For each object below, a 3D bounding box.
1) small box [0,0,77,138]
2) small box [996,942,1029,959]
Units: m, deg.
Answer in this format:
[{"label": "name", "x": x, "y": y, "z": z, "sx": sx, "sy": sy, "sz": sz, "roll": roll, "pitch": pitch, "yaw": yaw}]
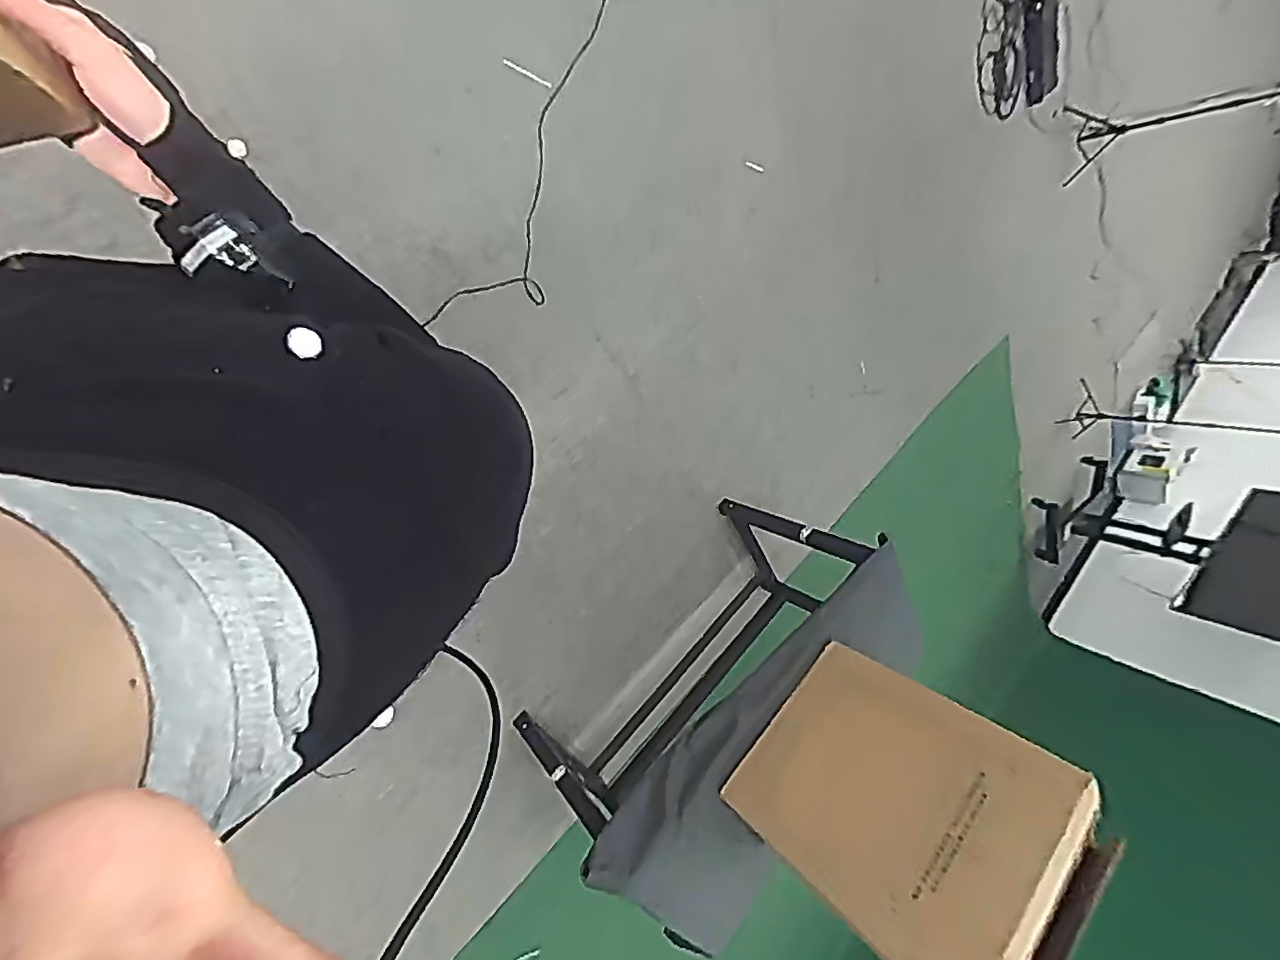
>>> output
[{"label": "small box", "x": -0.426, "y": -0.255, "z": 0.232, "sx": 0.168, "sy": 0.176, "sz": 0.179, "roll": -26, "pitch": 110, "yaw": -14}, {"label": "small box", "x": 0.701, "y": 0.967, "z": 0.951, "sx": 0.168, "sy": 0.176, "sz": 0.179, "roll": -51, "pitch": 127, "yaw": -12}]
